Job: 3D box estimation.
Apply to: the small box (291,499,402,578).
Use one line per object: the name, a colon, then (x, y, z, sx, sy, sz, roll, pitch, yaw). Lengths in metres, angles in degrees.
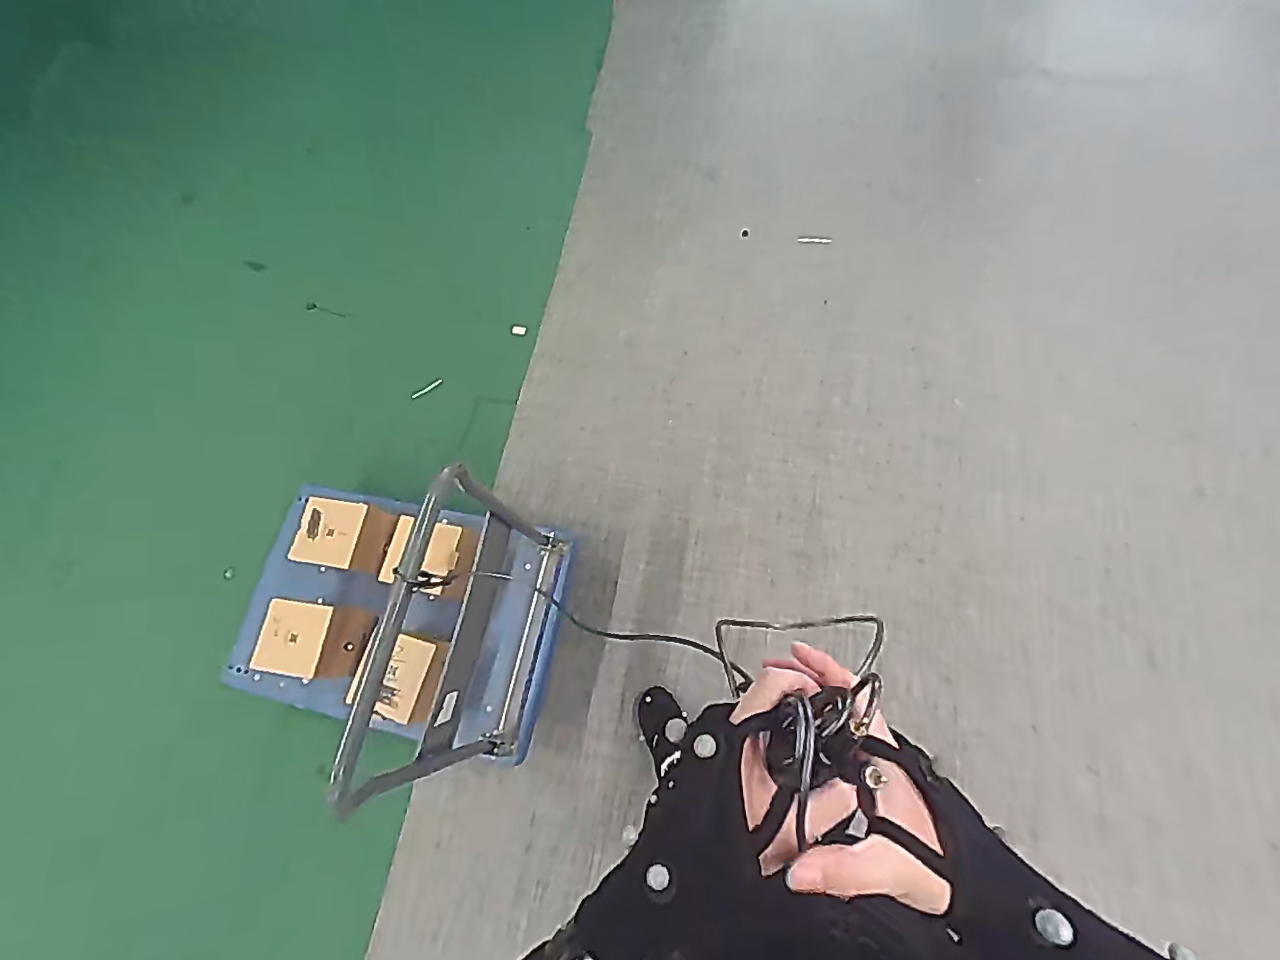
small box: (-0.760, 0.159, 1.426, 0.179, 0.176, 0.168, 7, 74, 11)

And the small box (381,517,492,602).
small box: (-0.506, 0.206, 1.366, 0.179, 0.176, 0.168, 10, 73, 12)

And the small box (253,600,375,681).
small box: (-0.802, 0.401, 1.350, 0.179, 0.176, 0.168, 5, 71, 12)
